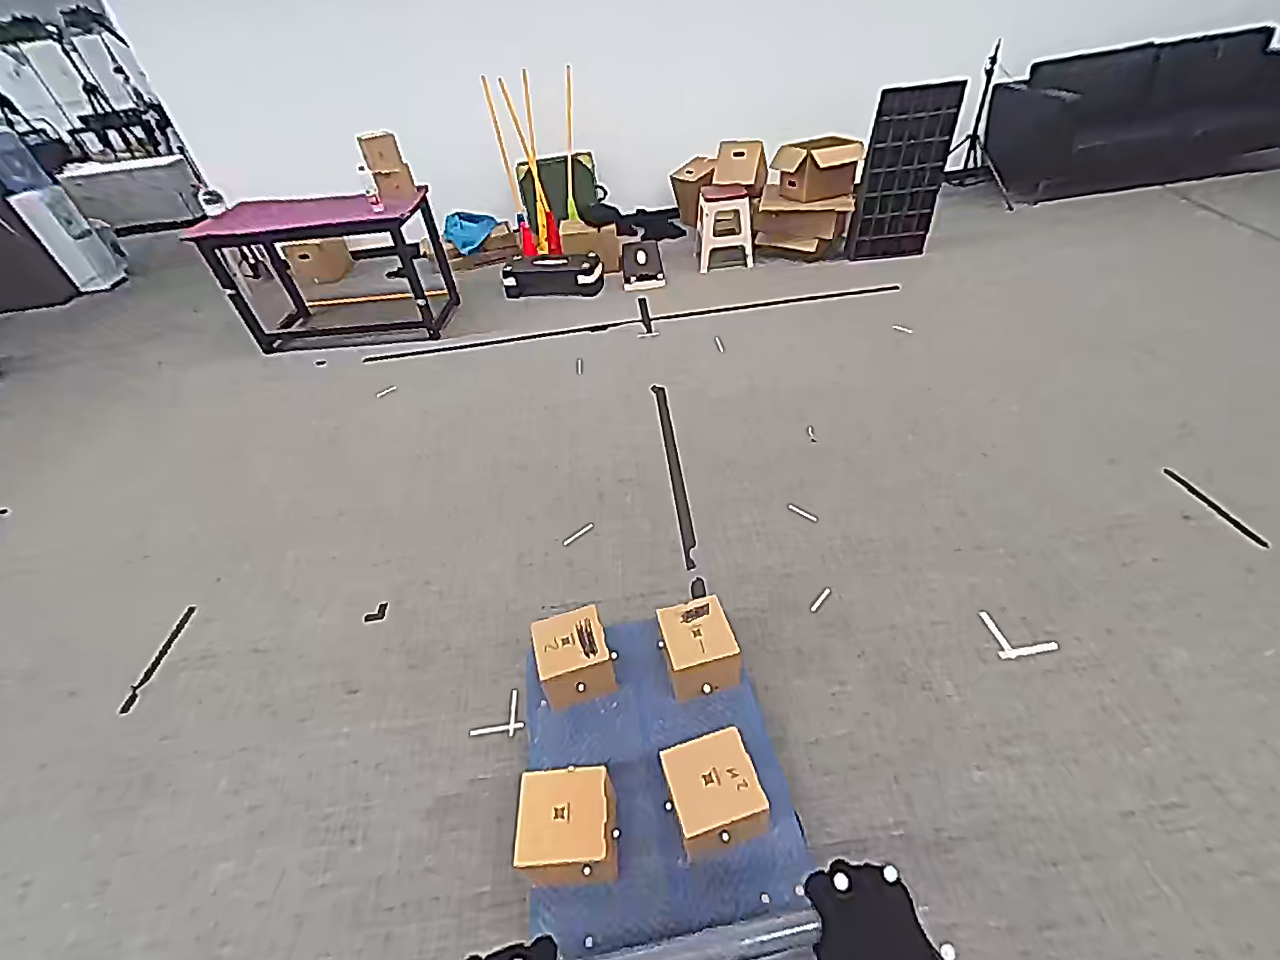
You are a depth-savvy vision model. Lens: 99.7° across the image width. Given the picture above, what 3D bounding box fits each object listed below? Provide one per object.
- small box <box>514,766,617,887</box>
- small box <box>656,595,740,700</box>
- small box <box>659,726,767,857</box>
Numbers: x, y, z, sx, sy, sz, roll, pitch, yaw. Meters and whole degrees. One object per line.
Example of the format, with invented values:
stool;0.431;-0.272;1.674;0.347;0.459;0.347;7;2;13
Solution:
small box;-0.146;0.714;1.111;0.179;0.176;0.168;-6;42;0
small box;0.144;0.427;1.380;0.168;0.176;0.179;-14;43;-6
small box;0.152;0.654;1.131;0.179;0.176;0.168;-15;43;-8
